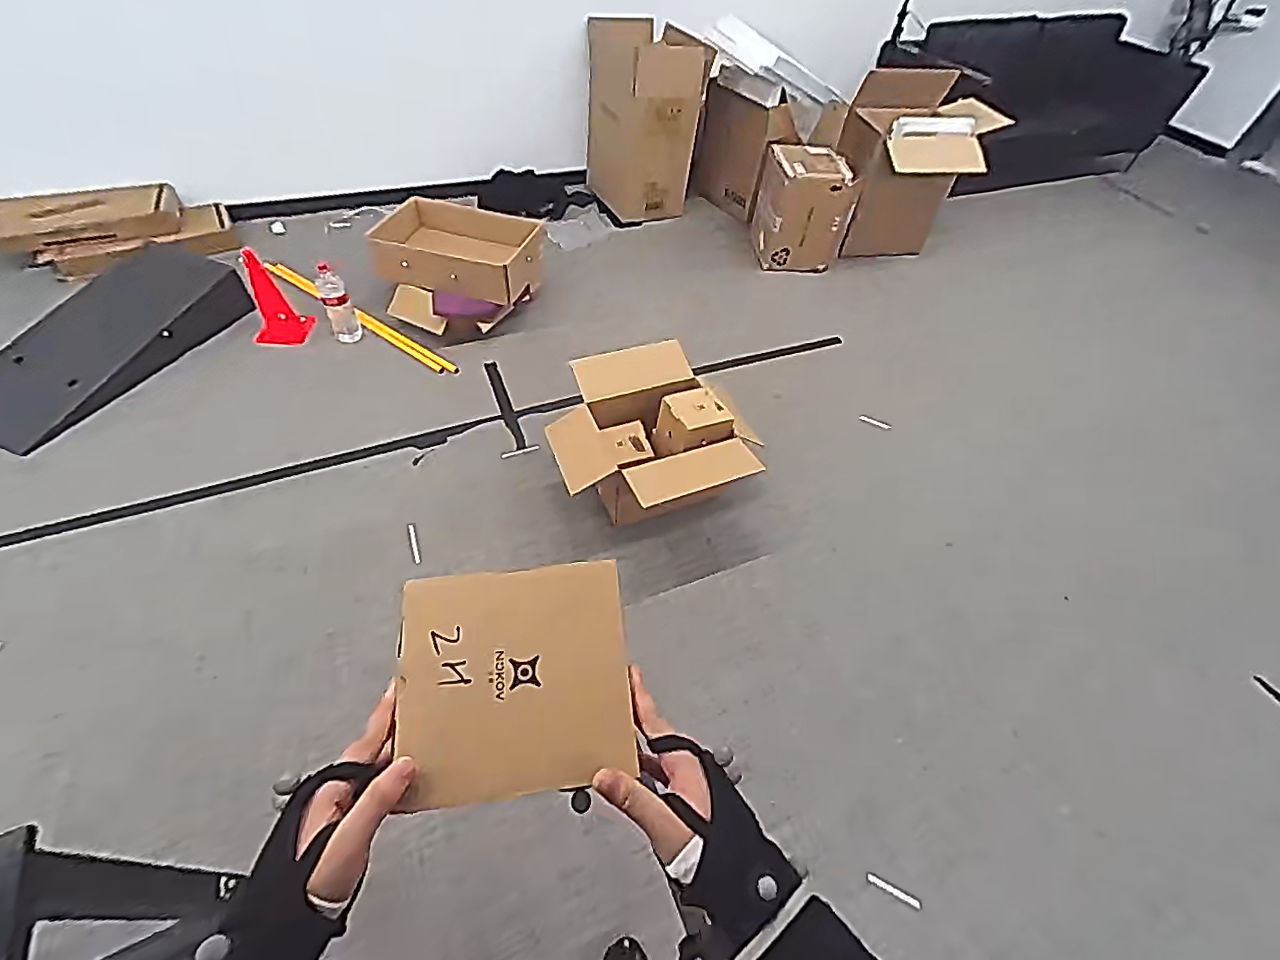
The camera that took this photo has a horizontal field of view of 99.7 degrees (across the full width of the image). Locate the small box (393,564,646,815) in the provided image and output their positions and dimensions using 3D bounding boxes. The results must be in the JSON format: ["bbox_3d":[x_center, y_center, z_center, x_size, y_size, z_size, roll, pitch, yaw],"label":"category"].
[{"bbox_3d":[-0.096,0.185,0.481,0.179,0.176,0.168,-6,62,-6],"label":"small box"}]

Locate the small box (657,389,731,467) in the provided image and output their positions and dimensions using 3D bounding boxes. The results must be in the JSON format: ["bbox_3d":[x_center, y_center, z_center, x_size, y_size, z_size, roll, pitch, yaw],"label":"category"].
[{"bbox_3d":[0.167,-0.166,1.754,0.179,0.176,0.168,-16,53,-22],"label":"small box"}]
